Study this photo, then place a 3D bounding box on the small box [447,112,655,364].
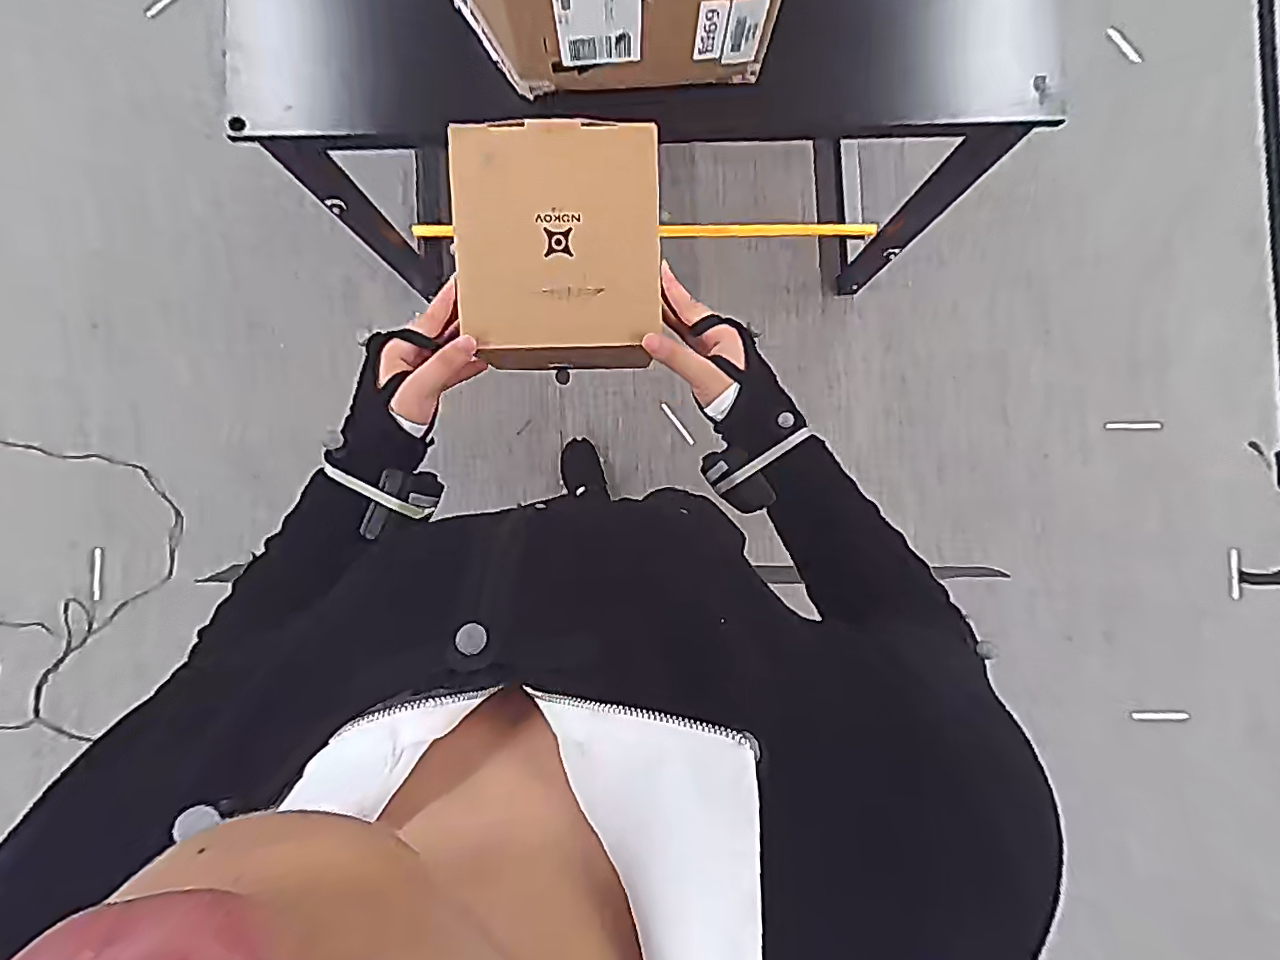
[{"bbox_3d":[-0.074,-0.209,0.513,0.168,0.176,0.179,-1,96,-3],"label":"small box"}]
